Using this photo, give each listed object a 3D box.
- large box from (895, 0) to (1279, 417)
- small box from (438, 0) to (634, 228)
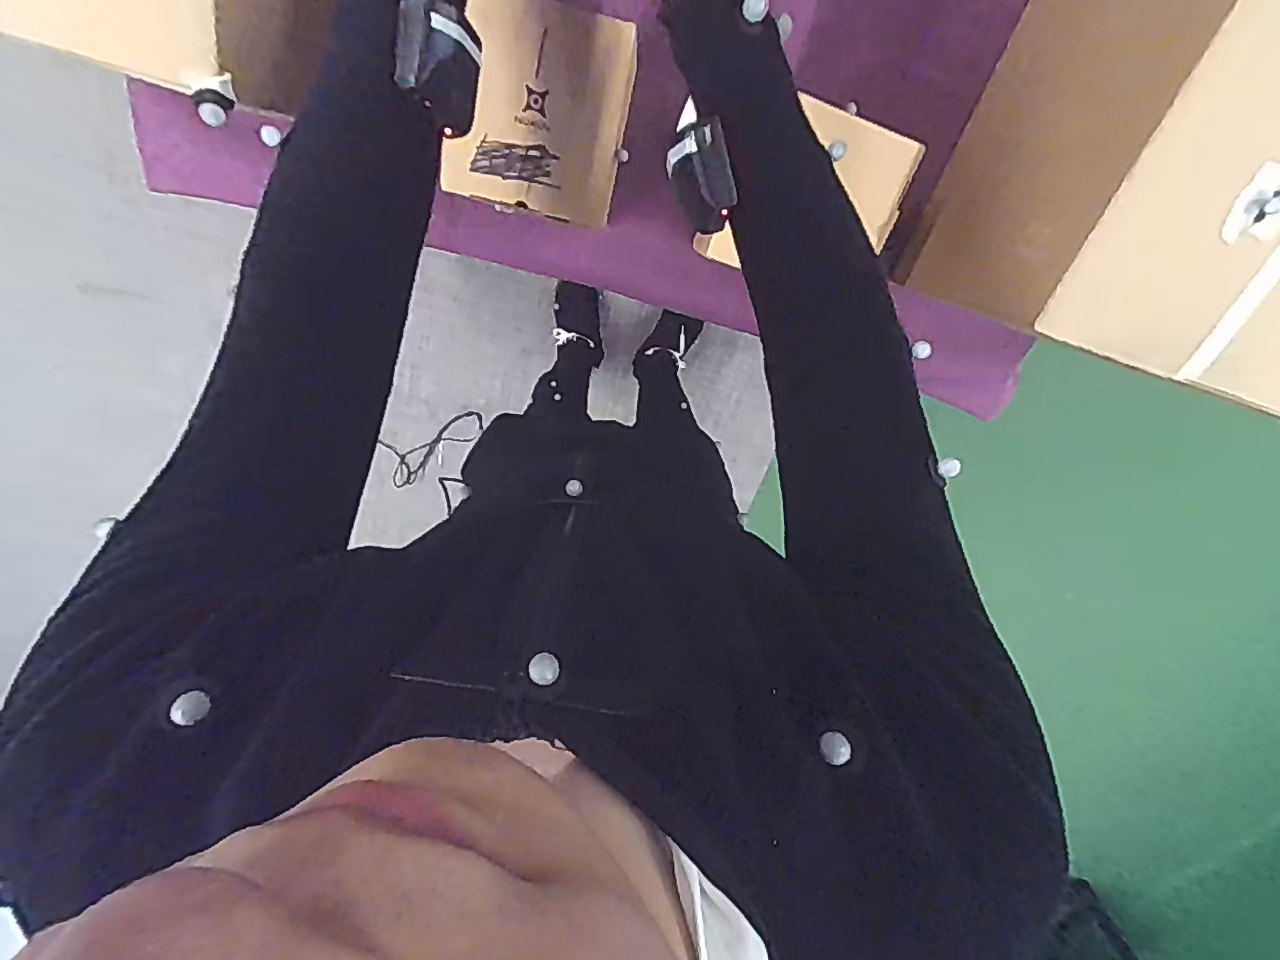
[{"bbox_3d":[0.545,-0.334,0.544,0.320,0.320,0.408,15,118,-7],"label":"large box"},{"bbox_3d":[-0.104,-0.388,0.581,0.168,0.176,0.179,12,116,-7],"label":"small box"}]
